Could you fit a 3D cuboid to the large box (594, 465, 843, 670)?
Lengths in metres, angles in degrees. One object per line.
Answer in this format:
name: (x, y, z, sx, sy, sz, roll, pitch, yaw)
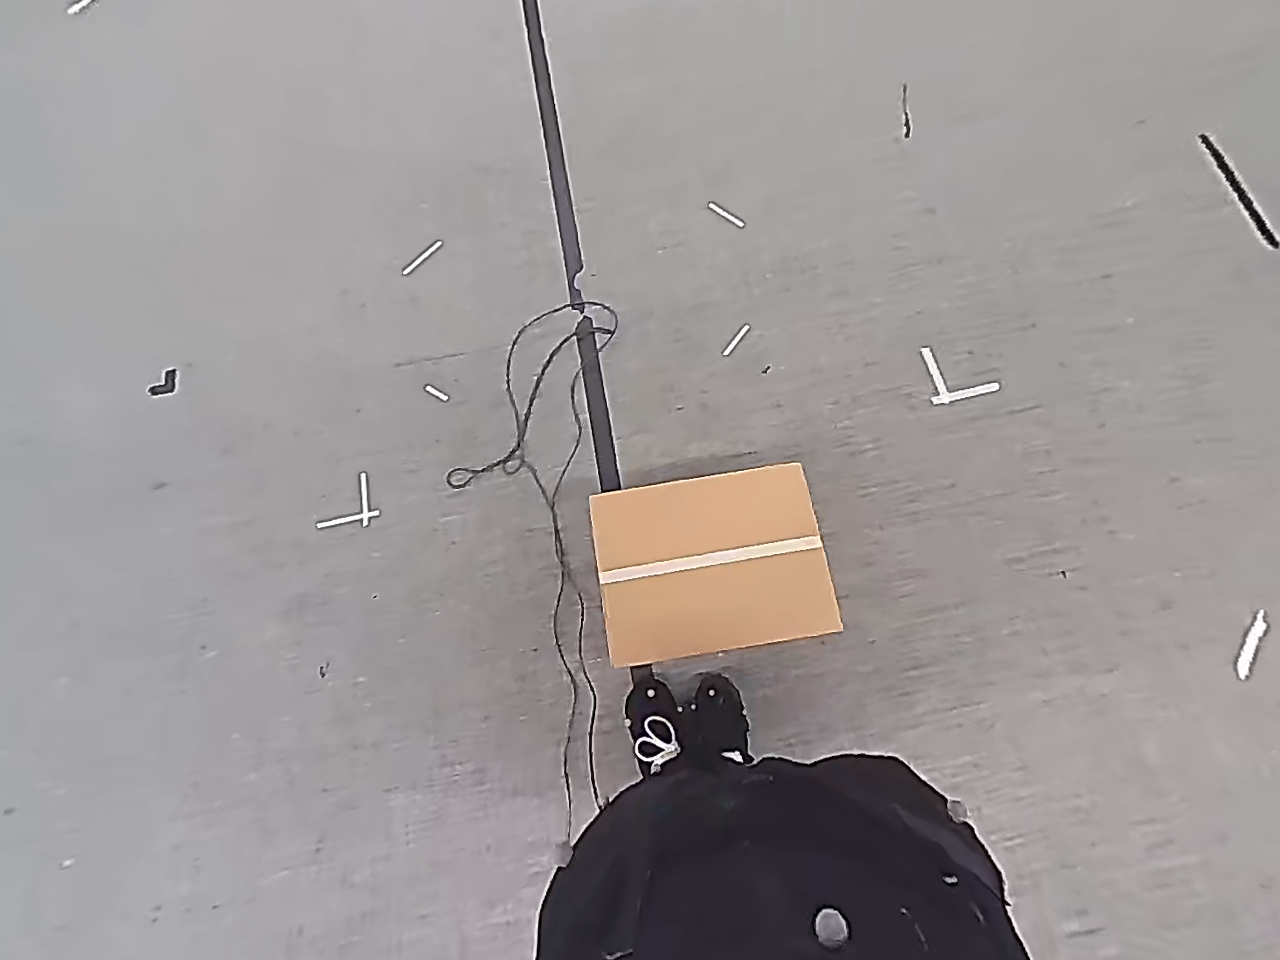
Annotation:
large box: (0.139, 0.191, 1.115, 0.408, 0.320, 0.320, -10, 75, 0)
